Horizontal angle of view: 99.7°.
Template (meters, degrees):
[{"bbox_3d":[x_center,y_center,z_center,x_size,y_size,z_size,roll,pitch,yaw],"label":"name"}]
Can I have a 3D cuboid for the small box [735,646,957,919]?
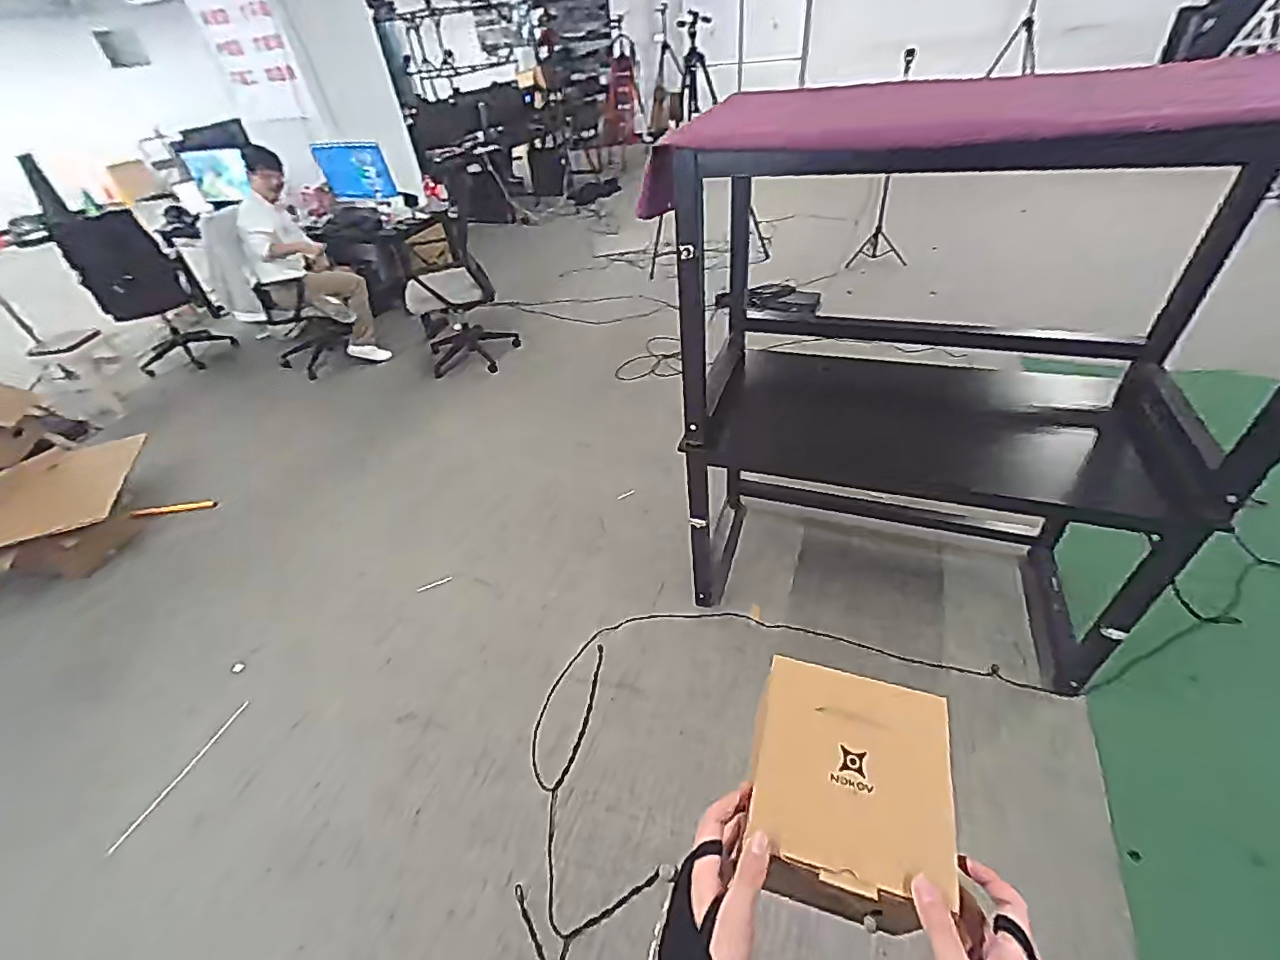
[{"bbox_3d":[0.192,0.300,0.536,0.168,0.176,0.179,11,48,14],"label":"small box"}]
